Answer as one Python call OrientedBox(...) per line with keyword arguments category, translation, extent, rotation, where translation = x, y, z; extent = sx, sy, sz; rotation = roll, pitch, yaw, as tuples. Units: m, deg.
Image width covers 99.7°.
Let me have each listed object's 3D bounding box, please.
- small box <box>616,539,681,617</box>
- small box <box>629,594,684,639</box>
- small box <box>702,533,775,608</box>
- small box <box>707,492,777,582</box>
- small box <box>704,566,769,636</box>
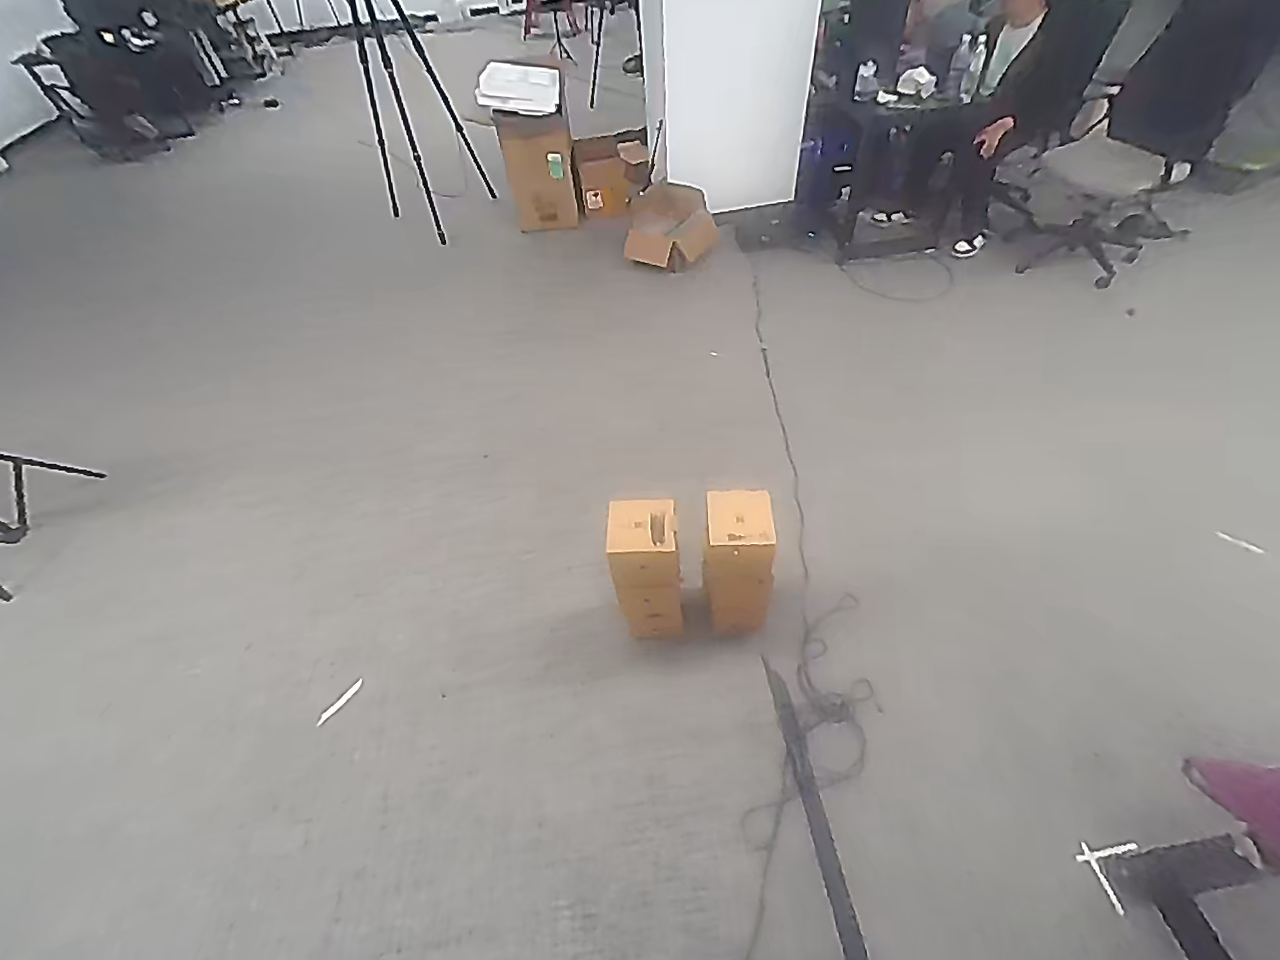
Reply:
OrientedBox(category="small box", translation=(0.030, 0.286, 1.563), extent=(0.179, 0.176, 0.168), rotation=(-3, 49, 5))
OrientedBox(category="small box", translation=(0.048, 0.380, 1.696), extent=(0.168, 0.176, 0.179), rotation=(-5, 49, 3))
OrientedBox(category="small box", translation=(0.280, 0.257, 1.566), extent=(0.179, 0.176, 0.168), rotation=(-7, 49, 0))
OrientedBox(category="small box", translation=(0.265, 0.152, 1.441), extent=(0.168, 0.176, 0.179), rotation=(-2, 48, 5))
OrientedBox(category="small box", translation=(0.294, 0.362, 1.689), extent=(0.168, 0.176, 0.179), rotation=(-9, 49, -1))
